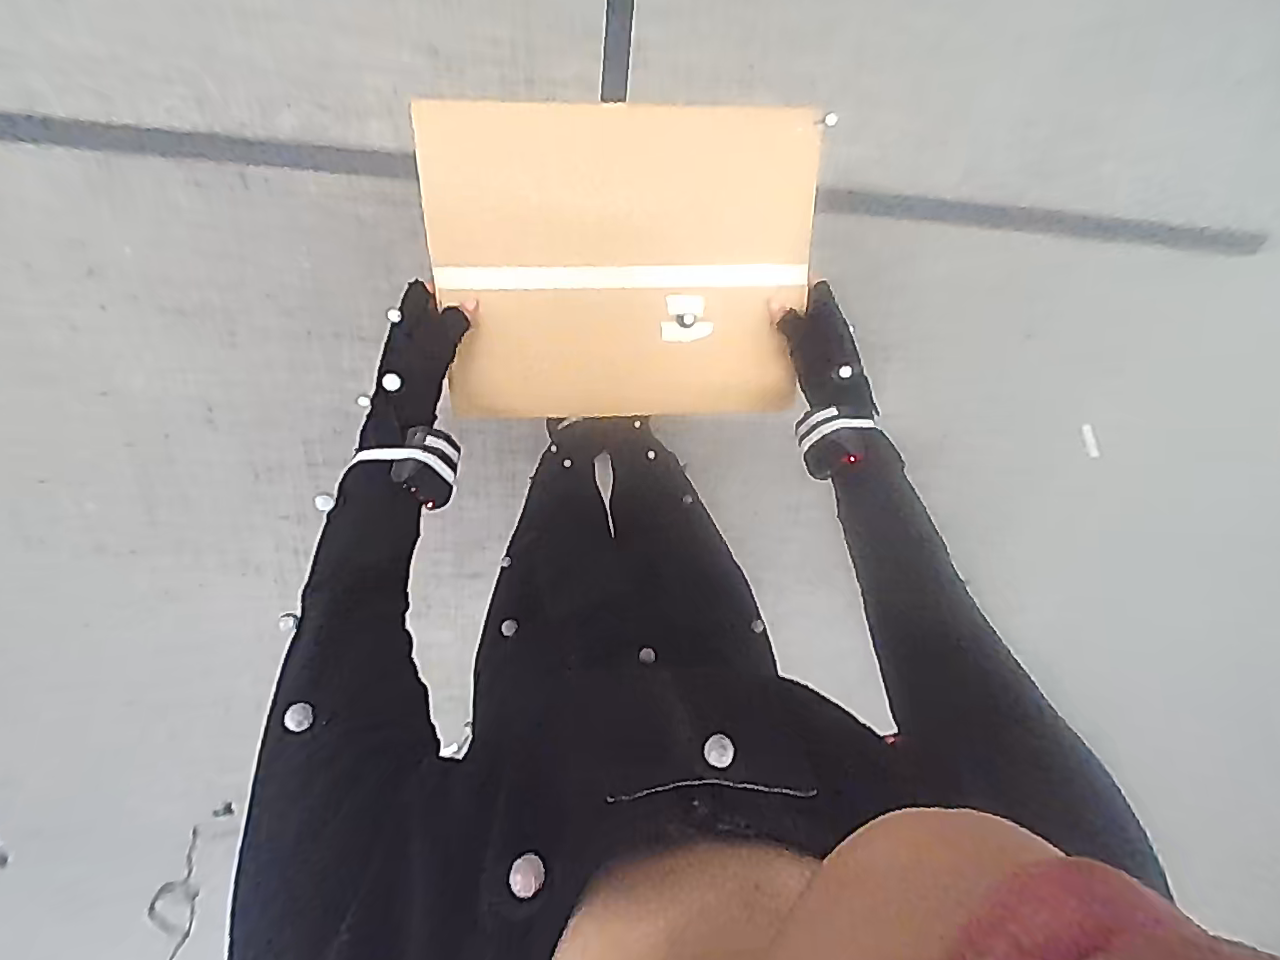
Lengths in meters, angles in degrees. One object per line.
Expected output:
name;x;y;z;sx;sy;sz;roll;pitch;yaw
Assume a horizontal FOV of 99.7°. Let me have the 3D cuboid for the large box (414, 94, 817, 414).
large box;-0.031;-0.285;0.719;0.408;0.320;0.320;-3;113;-5
